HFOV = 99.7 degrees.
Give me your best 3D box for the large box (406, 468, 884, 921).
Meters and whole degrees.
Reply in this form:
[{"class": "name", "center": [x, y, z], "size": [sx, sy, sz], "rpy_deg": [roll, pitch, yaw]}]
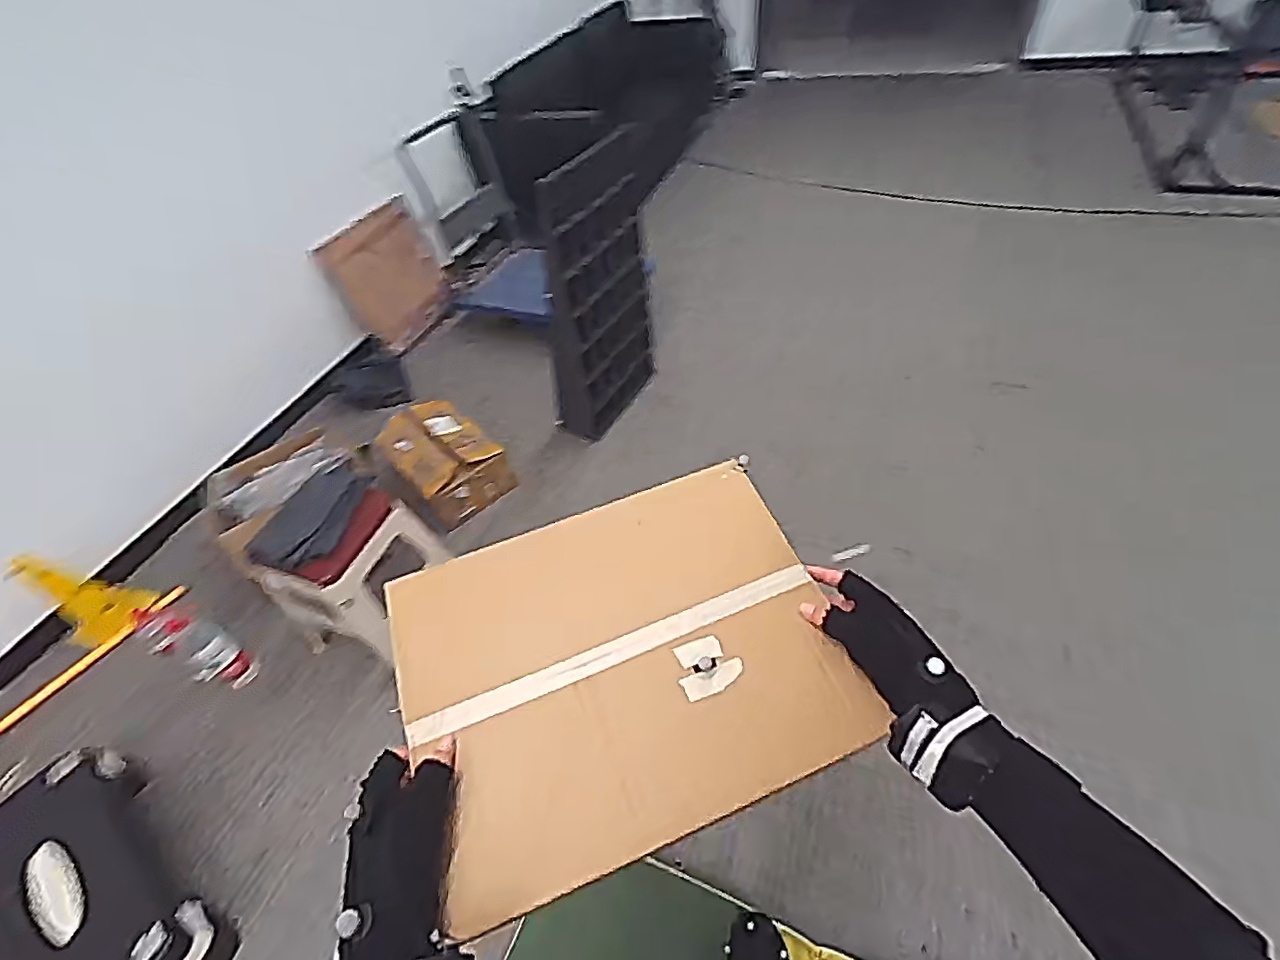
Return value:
[{"class": "large box", "center": [-0.009, 0.248, 0.657], "size": [0.408, 0.320, 0.320], "rpy_deg": [-19, 59, -11]}]
